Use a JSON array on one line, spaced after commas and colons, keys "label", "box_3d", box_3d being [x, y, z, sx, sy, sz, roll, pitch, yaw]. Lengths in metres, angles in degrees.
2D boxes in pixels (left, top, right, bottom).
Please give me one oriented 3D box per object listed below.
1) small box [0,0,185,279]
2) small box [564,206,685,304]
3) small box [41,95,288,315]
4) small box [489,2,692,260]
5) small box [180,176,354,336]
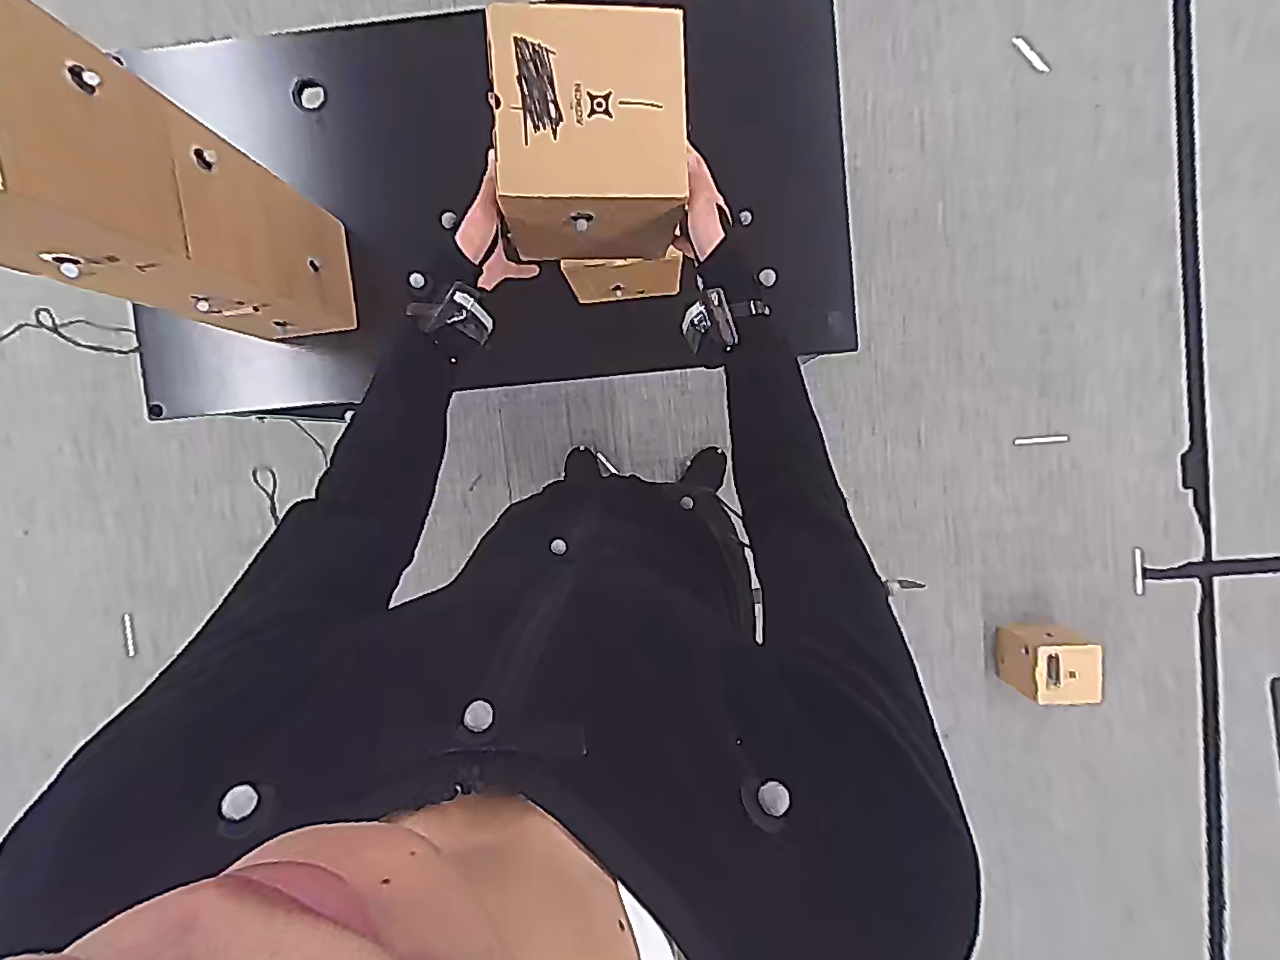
[{"label": "small box", "box_3d": [-0.568, -0.303, 0.489, 0.168, 0.176, 0.179, -6, 94, 3]}, {"label": "small box", "box_3d": [-0.026, -0.376, 0.798, 0.168, 0.176, 0.179, -5, 93, 2]}, {"label": "small box", "box_3d": [-0.565, -0.313, 0.651, 0.168, 0.176, 0.179, -6, 93, 3]}, {"label": "small box", "box_3d": [-0.048, -0.335, 0.555, 0.179, 0.176, 0.168, -2, 94, -5]}, {"label": "small box", "box_3d": [-0.560, -0.321, 0.816, 0.168, 0.176, 0.179, -7, 94, 2]}]
